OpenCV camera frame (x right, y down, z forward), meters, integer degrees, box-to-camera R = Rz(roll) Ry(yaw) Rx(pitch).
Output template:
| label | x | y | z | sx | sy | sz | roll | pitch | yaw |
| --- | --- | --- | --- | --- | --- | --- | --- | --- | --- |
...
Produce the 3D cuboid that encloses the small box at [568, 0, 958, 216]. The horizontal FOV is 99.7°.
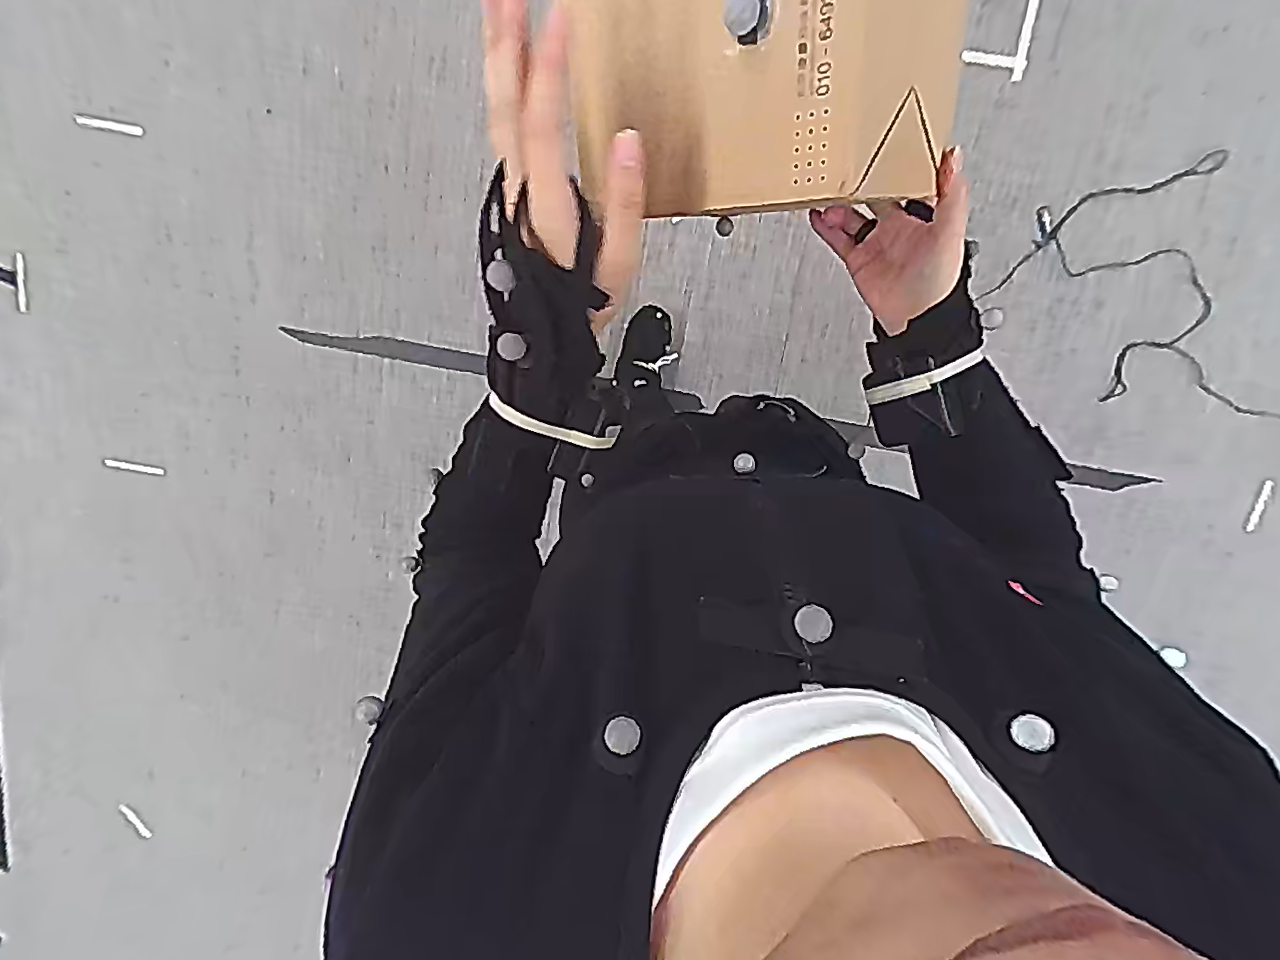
| label | x | y | z | sx | sy | sz | roll | pitch | yaw |
| --- | --- | --- | --- | --- | --- | --- | --- | --- | --- |
| small box | 0.079 | -0.254 | 0.318 | 0.176 | 0.179 | 0.168 | 14 | 120 | 36 |
